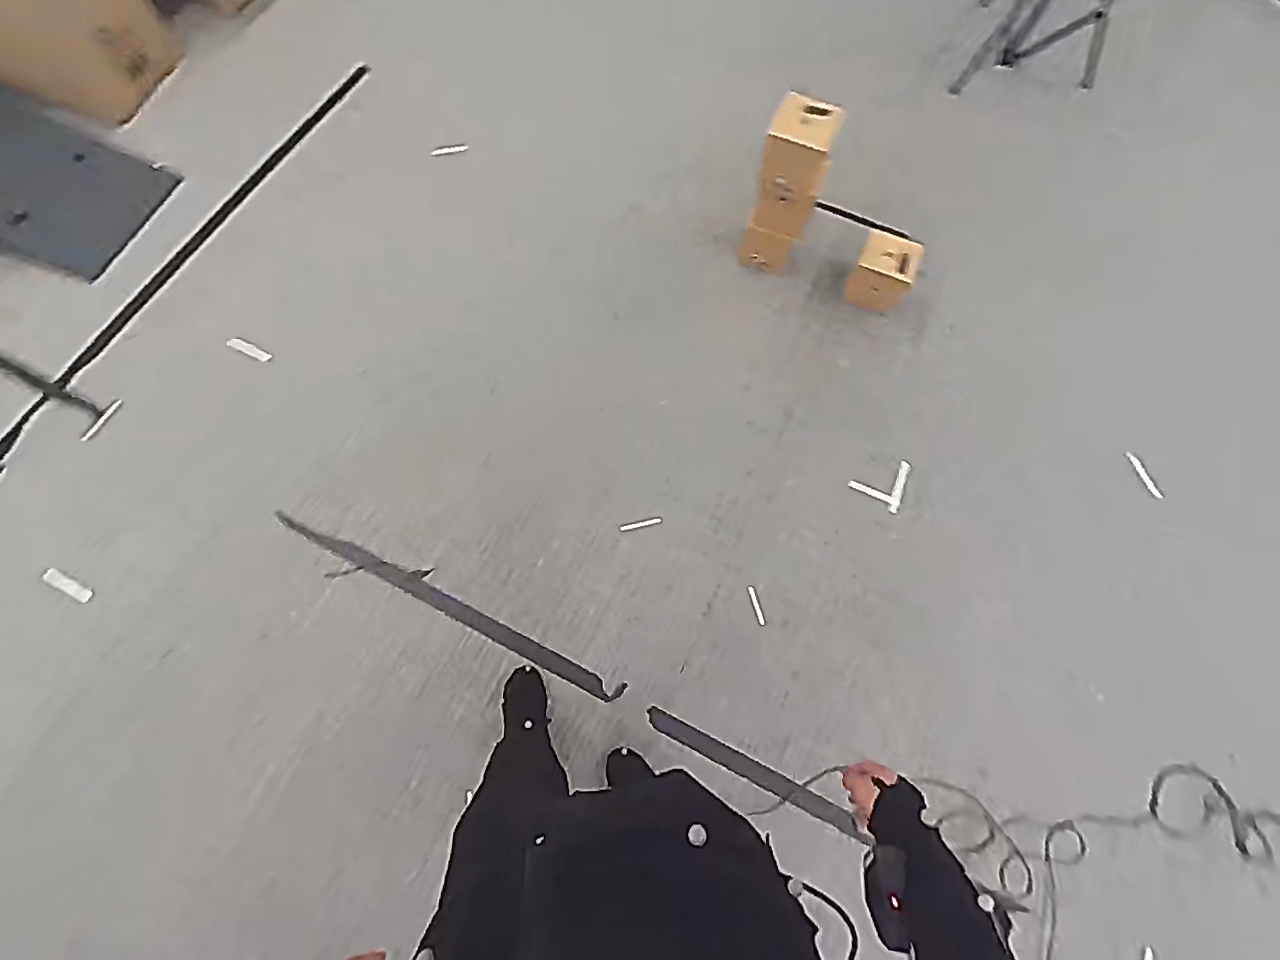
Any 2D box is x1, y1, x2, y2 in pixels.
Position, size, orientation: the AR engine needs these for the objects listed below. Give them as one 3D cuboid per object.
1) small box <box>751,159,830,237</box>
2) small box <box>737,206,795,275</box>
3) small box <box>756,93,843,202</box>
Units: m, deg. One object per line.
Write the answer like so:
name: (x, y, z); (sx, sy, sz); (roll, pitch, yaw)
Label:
small box: (0.461, -0.891, 1.681); (0.179, 0.176, 0.168); (20, 72, 6)
small box: (0.443, -0.840, 1.837); (0.168, 0.176, 0.179); (21, 72, 6)
small box: (0.441, -0.930, 1.521); (0.168, 0.176, 0.179); (23, 73, 8)
